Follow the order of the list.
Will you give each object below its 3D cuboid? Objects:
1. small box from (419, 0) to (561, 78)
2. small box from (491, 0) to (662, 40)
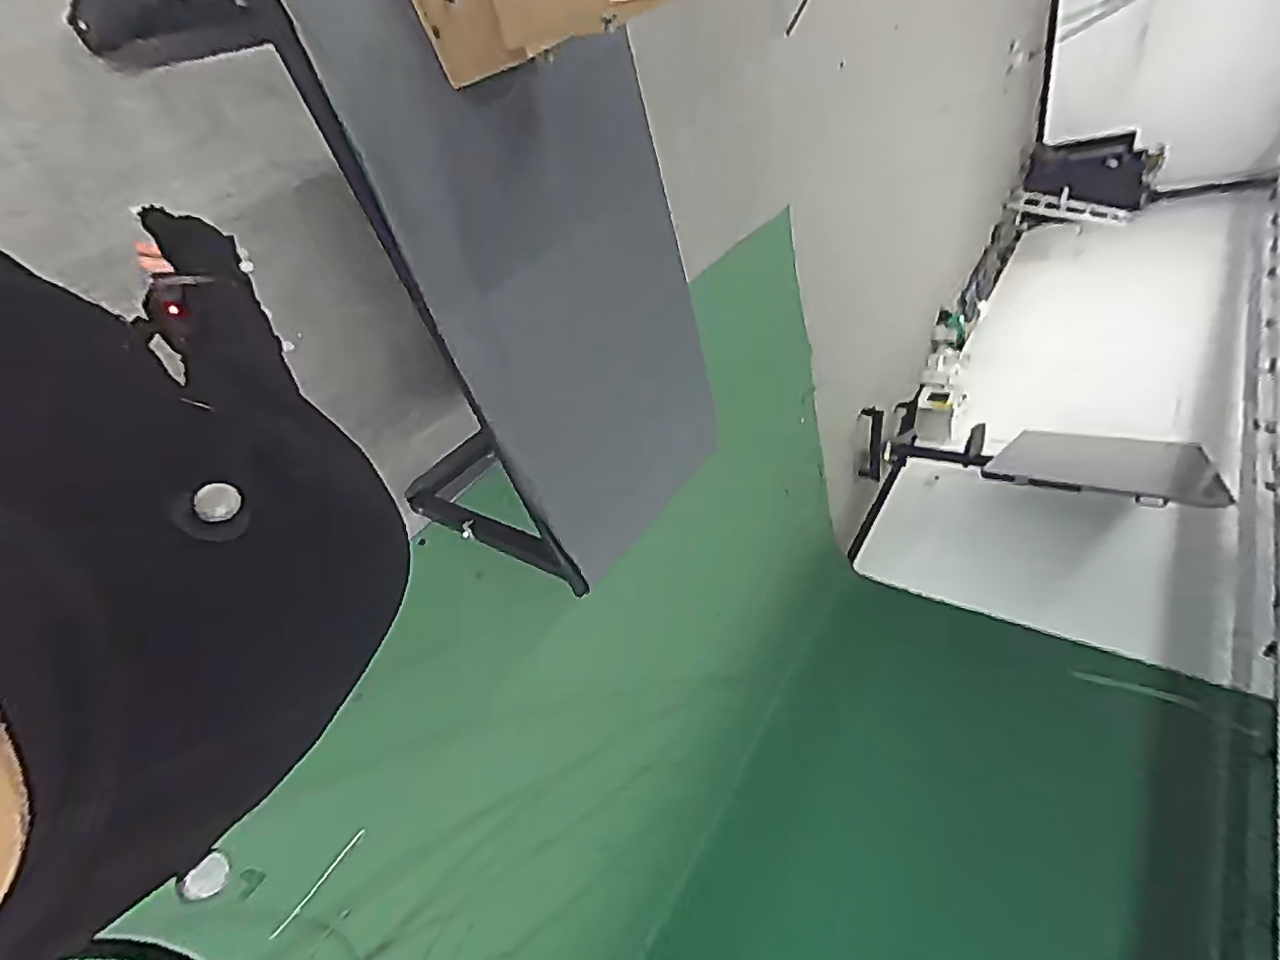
[{"bbox_3d":[-0.179,-0.647,0.686,0.179,0.176,0.168,-51,137,-28],"label":"small box"},{"bbox_3d":[-0.062,-0.603,0.578,0.179,0.176,0.168,-44,133,-33],"label":"small box"}]
